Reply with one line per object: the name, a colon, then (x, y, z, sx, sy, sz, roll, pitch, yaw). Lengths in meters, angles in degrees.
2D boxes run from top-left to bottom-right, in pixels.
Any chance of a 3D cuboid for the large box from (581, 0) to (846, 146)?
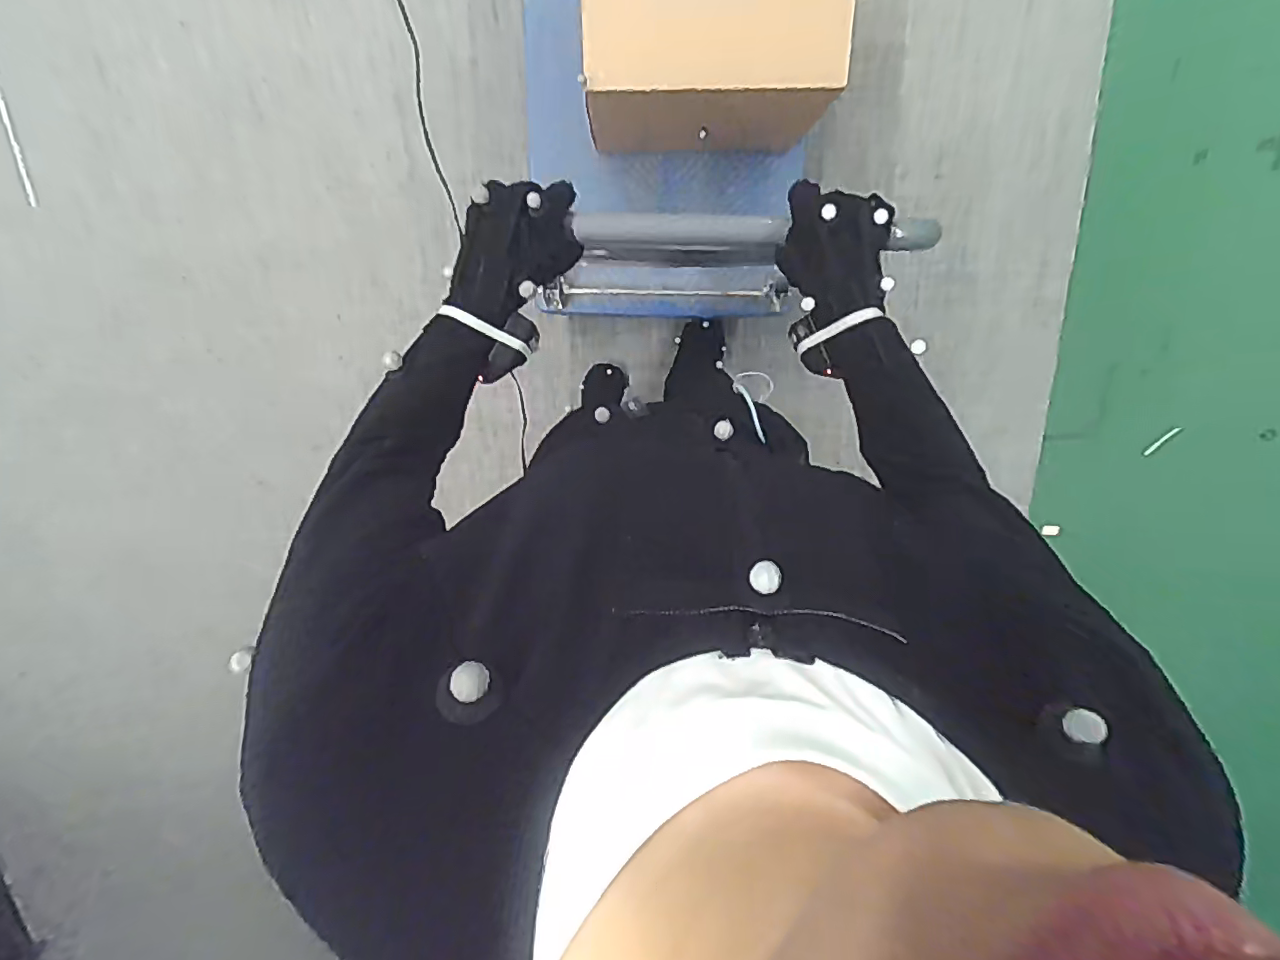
large box: (0.111, -0.799, 0.937, 0.408, 0.320, 0.320, -1, 106, 1)
